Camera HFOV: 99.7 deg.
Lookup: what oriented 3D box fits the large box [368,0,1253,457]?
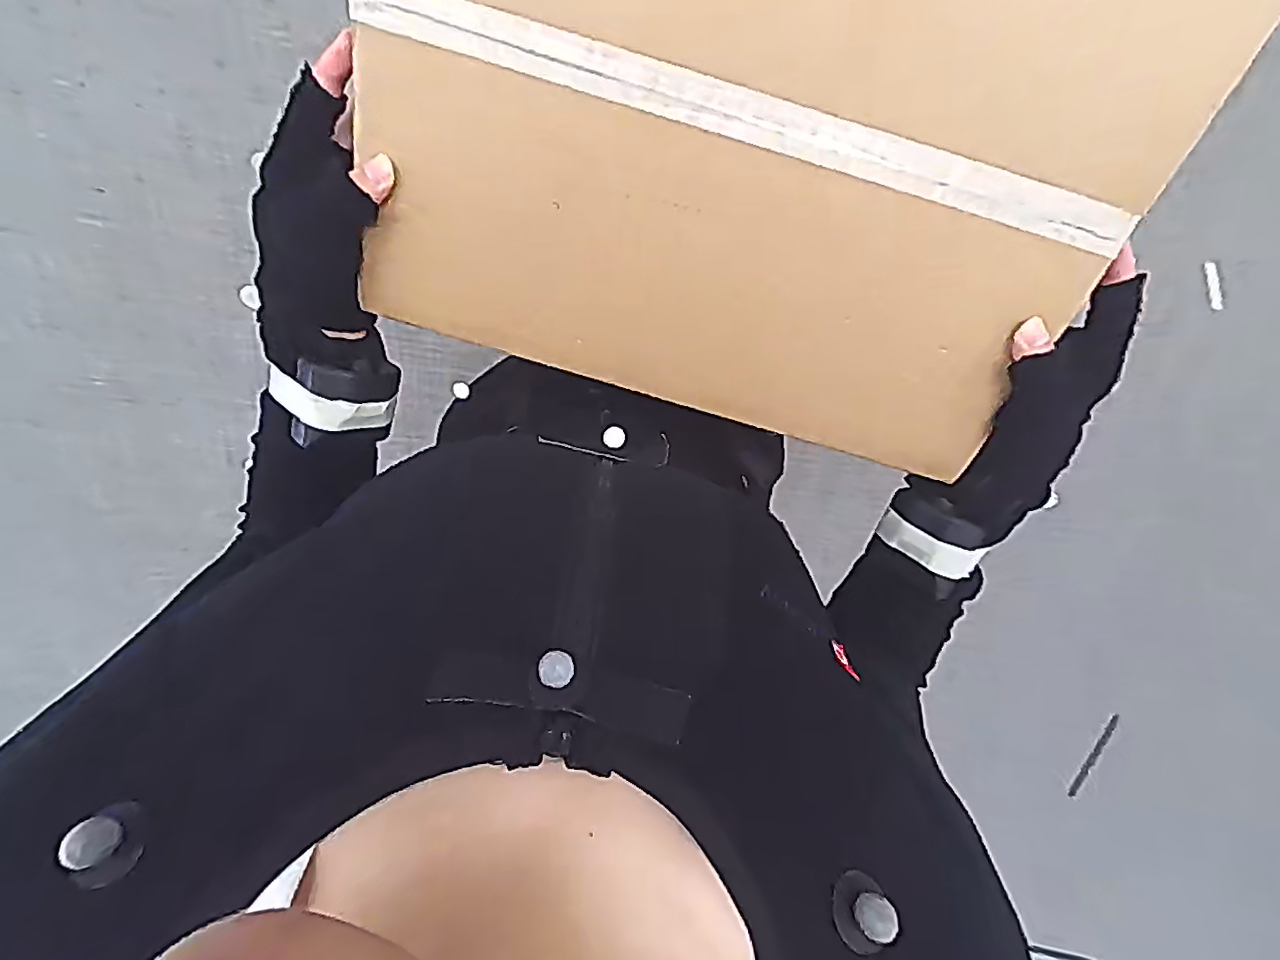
[{"bbox_3d":[0.069,-0.266,0.405,0.408,0.320,0.320,16,123,-3],"label":"large box"}]
